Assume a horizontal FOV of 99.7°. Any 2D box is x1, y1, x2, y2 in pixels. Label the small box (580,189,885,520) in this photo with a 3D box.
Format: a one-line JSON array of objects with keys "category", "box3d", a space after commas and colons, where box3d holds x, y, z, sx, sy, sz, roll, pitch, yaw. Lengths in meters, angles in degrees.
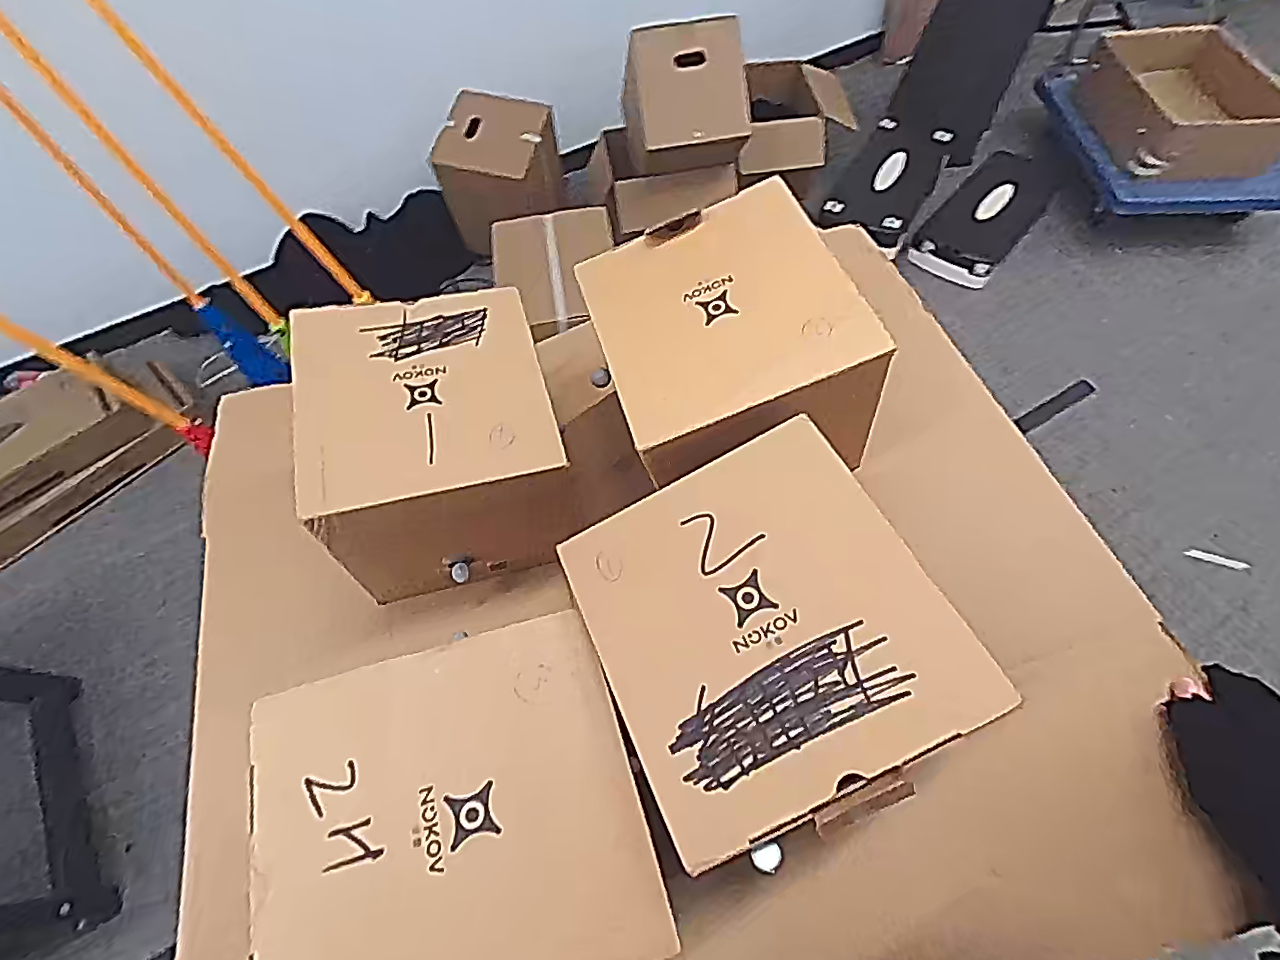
[{"category": "small box", "box3d": [0.072, -0.083, 0.440, 0.168, 0.176, 0.179, -21, 61, 5]}]
